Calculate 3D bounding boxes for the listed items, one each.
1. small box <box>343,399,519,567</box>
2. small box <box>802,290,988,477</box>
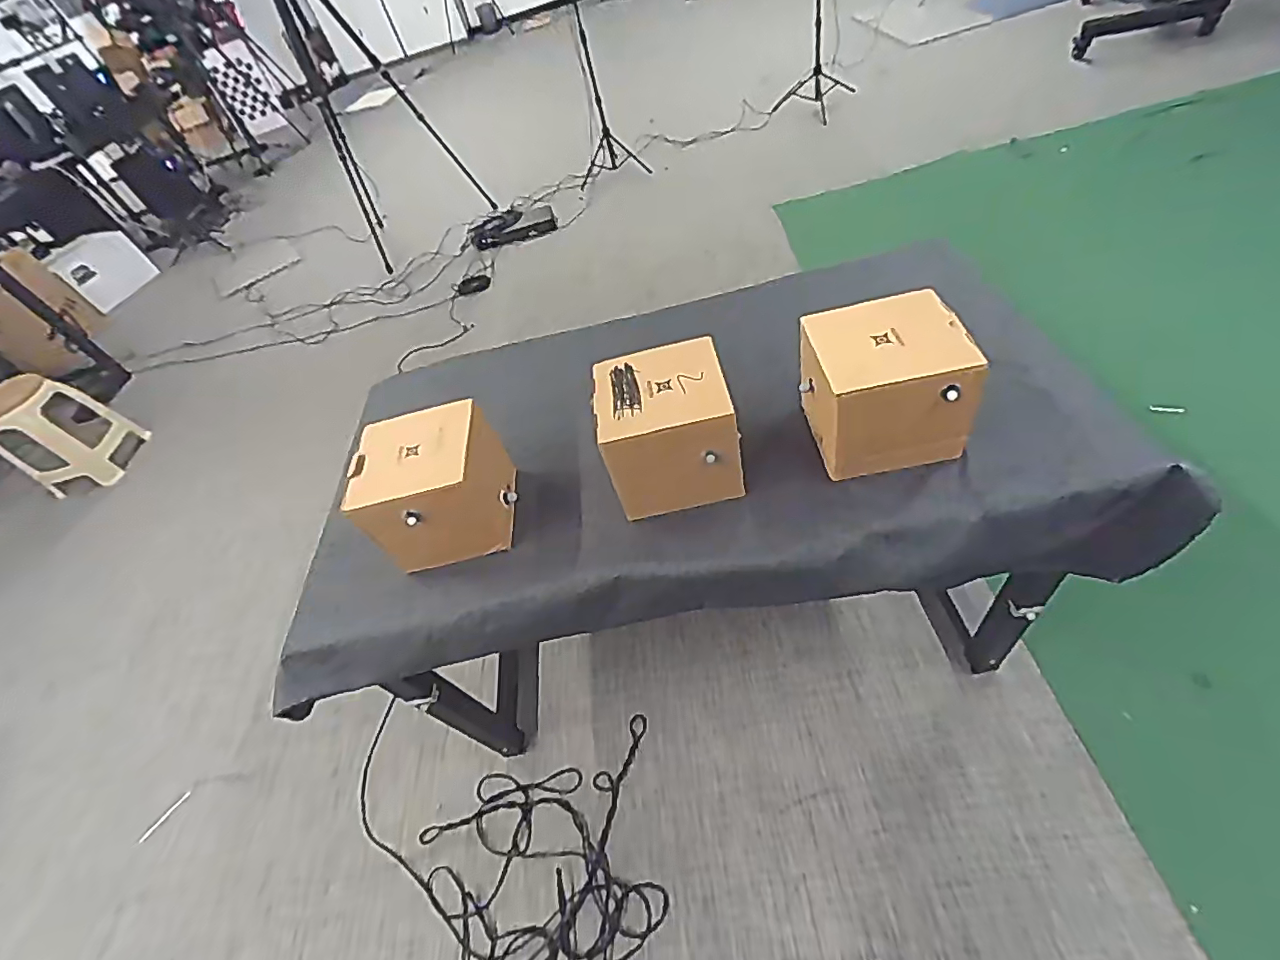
[{"bbox_3d":[-0.297,0.011,0.809,0.179,0.176,0.168,-13,50,5],"label":"small box"},{"bbox_3d":[0.327,-0.124,0.733,0.179,0.176,0.168,-11,49,8],"label":"small box"}]
